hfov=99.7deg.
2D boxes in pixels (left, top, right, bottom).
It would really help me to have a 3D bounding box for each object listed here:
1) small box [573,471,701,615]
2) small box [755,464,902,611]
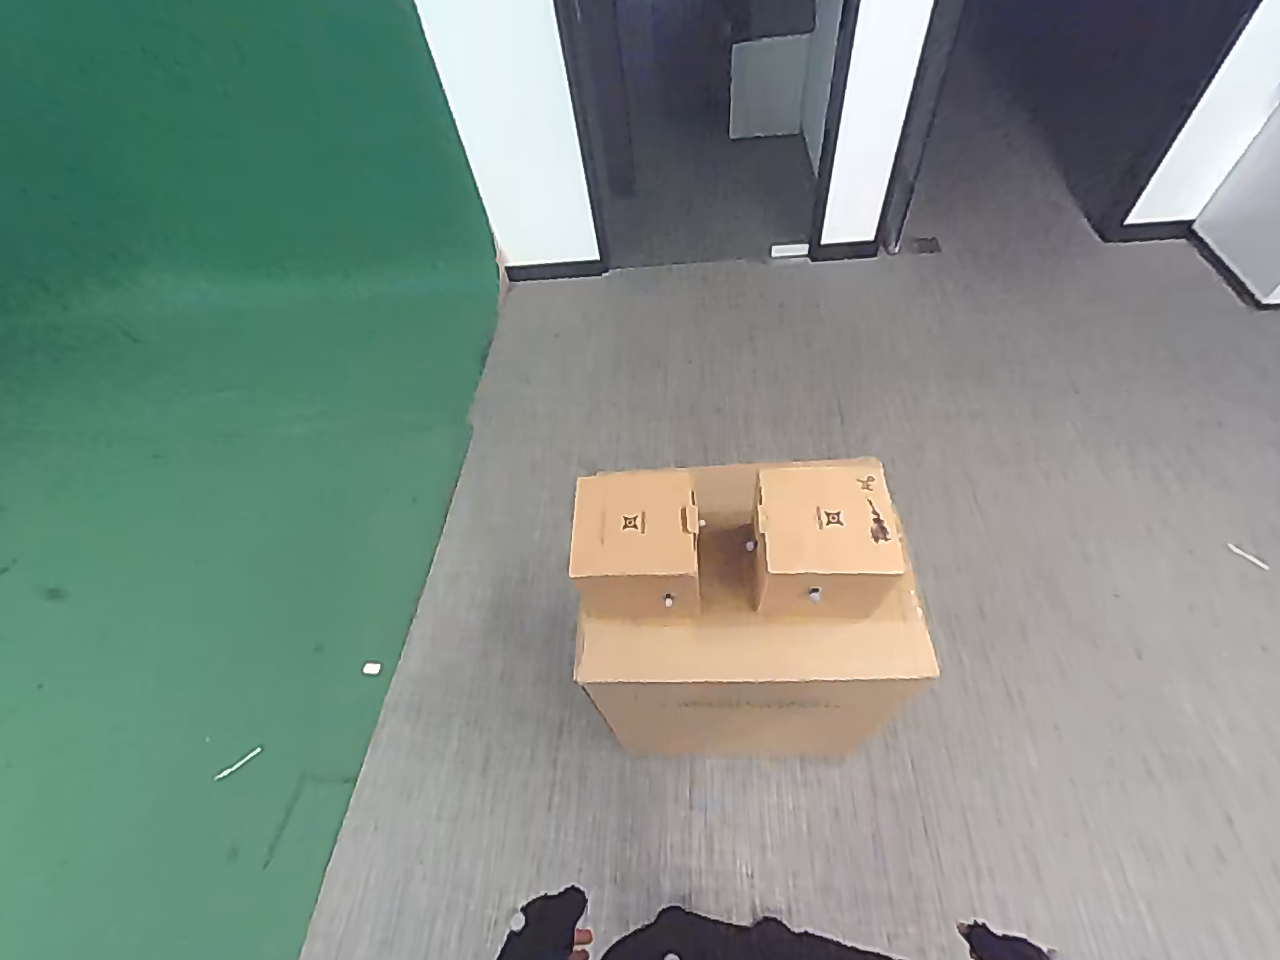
[{"bbox_3d":[0.005,0.102,0.838,0.179,0.176,0.168,-4,56,6],"label":"small box"},{"bbox_3d":[0.265,0.092,0.809,0.179,0.176,0.168,-2,58,7],"label":"small box"}]
